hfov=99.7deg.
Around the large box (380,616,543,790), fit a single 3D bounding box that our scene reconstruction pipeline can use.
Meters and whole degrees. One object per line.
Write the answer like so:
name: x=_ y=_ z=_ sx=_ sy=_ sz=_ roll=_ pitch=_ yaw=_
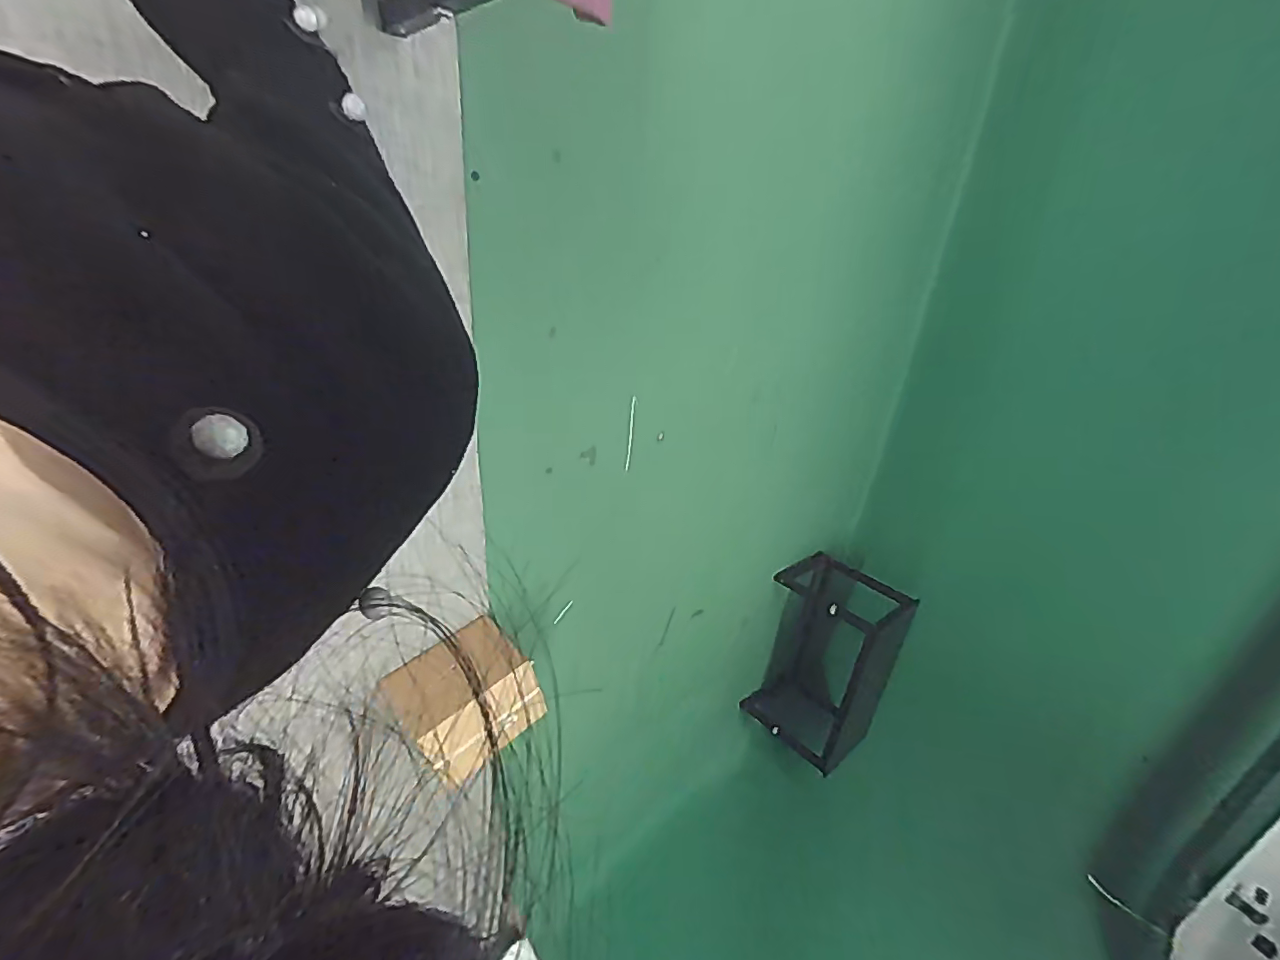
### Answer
large box: x=-0.619 y=0.769 z=1.909 sx=0.408 sy=0.320 sz=0.320 roll=-32 pitch=132 yaw=-31
